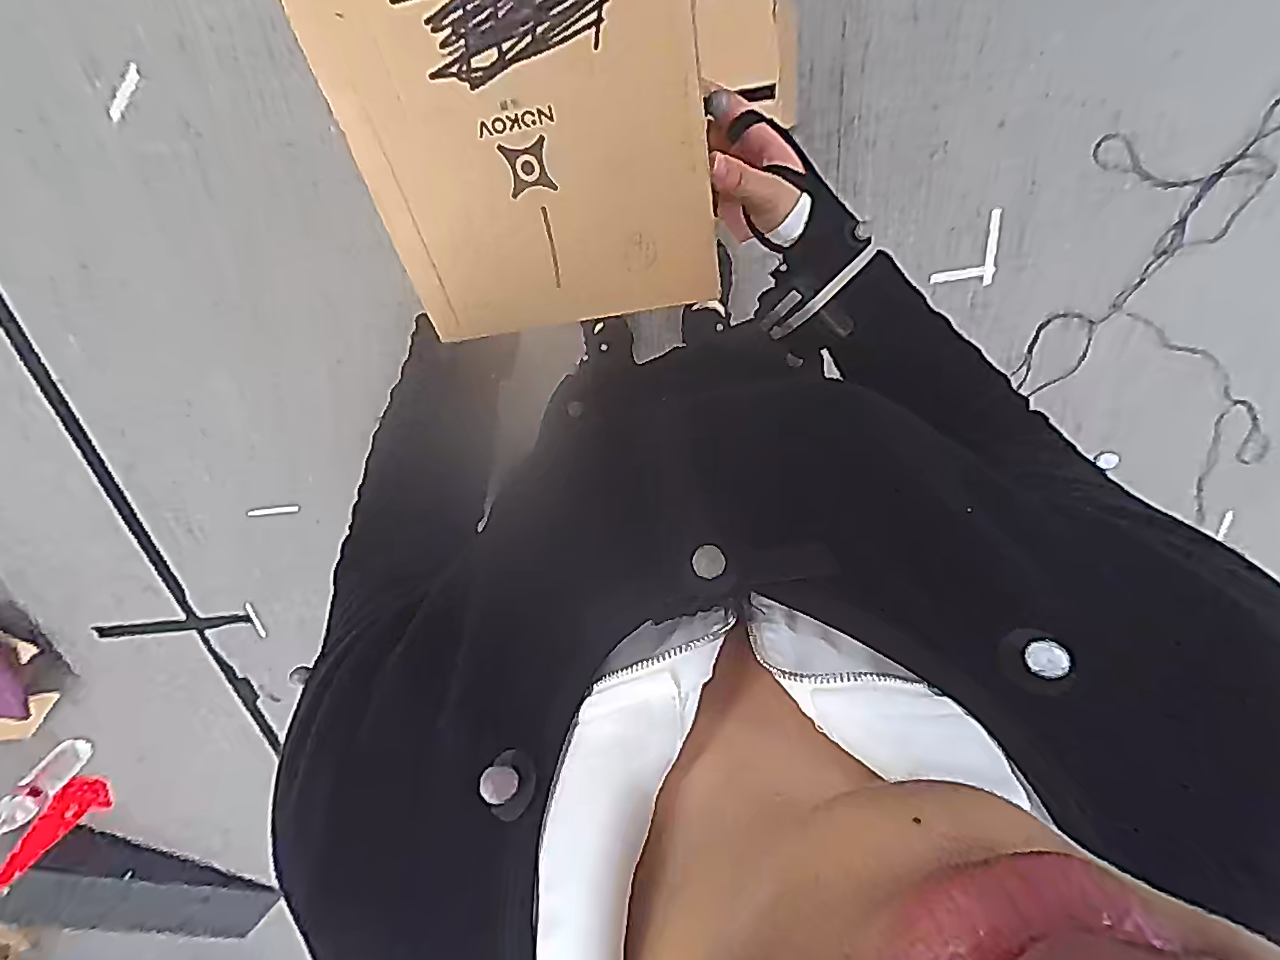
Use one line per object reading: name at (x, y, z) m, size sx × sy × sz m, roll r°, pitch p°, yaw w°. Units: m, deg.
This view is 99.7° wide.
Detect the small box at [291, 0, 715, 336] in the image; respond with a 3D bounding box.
small box at (-0.050, -0.210, 0.315) m, size 0.168 × 0.176 × 0.179 m, roll -6°, pitch 131°, yaw 9°
